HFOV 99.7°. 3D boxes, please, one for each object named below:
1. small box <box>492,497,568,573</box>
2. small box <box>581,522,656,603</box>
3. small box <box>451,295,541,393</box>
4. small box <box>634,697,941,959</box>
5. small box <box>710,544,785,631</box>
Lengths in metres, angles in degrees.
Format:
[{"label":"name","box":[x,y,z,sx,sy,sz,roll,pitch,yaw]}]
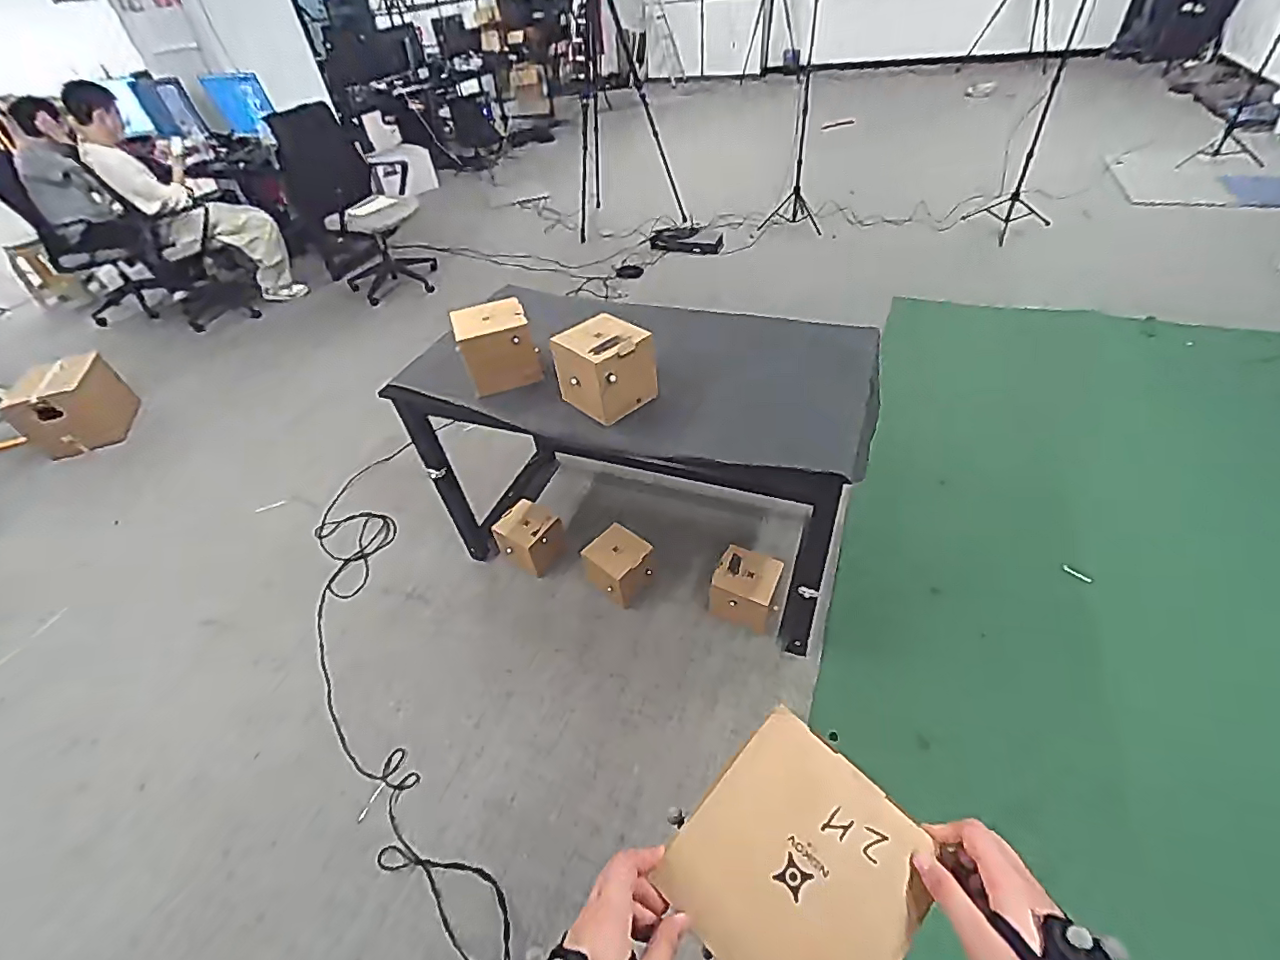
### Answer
[{"label":"small box","box":[-0.377,0.195,1.881,0.179,0.176,0.168,22,51,28]},{"label":"small box","box":[-0.063,0.274,1.756,0.179,0.176,0.168,29,54,33]},{"label":"small box","box":[-0.368,-0.346,1.388,0.179,0.176,0.168,-17,44,-11]},{"label":"small box","box":[0.117,0.328,0.478,0.168,0.176,0.179,39,70,21]},{"label":"small box","box":[0.323,0.330,1.644,0.179,0.176,0.168,17,49,22]}]
